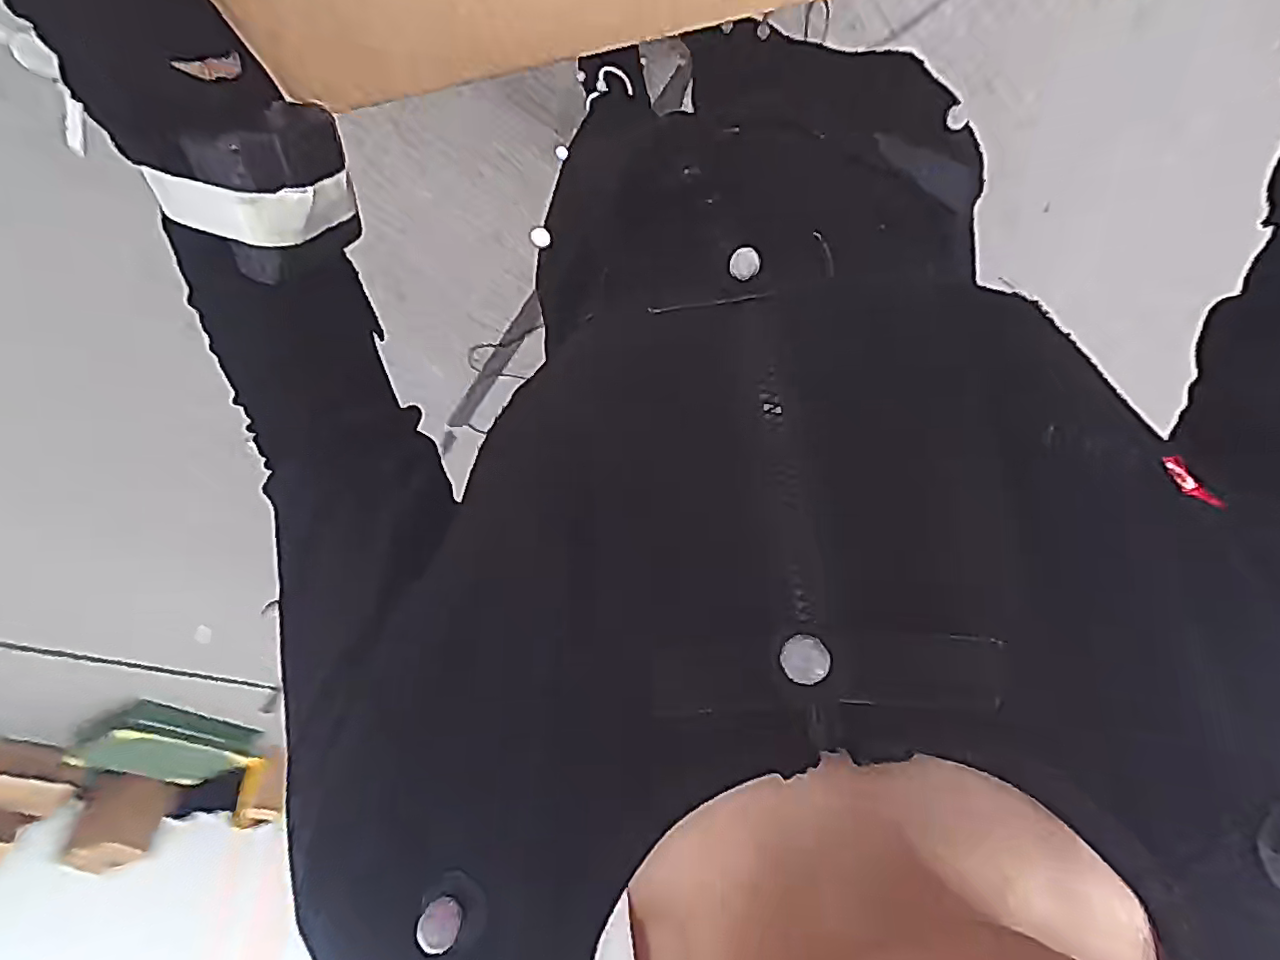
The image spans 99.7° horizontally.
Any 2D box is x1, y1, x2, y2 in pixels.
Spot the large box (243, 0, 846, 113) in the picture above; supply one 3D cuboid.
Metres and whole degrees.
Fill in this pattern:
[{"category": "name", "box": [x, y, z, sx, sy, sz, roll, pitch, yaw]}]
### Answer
[{"category": "large box", "box": [0.015, -0.380, 0.128, 0.408, 0.320, 0.320, -7, 163, 7]}]
